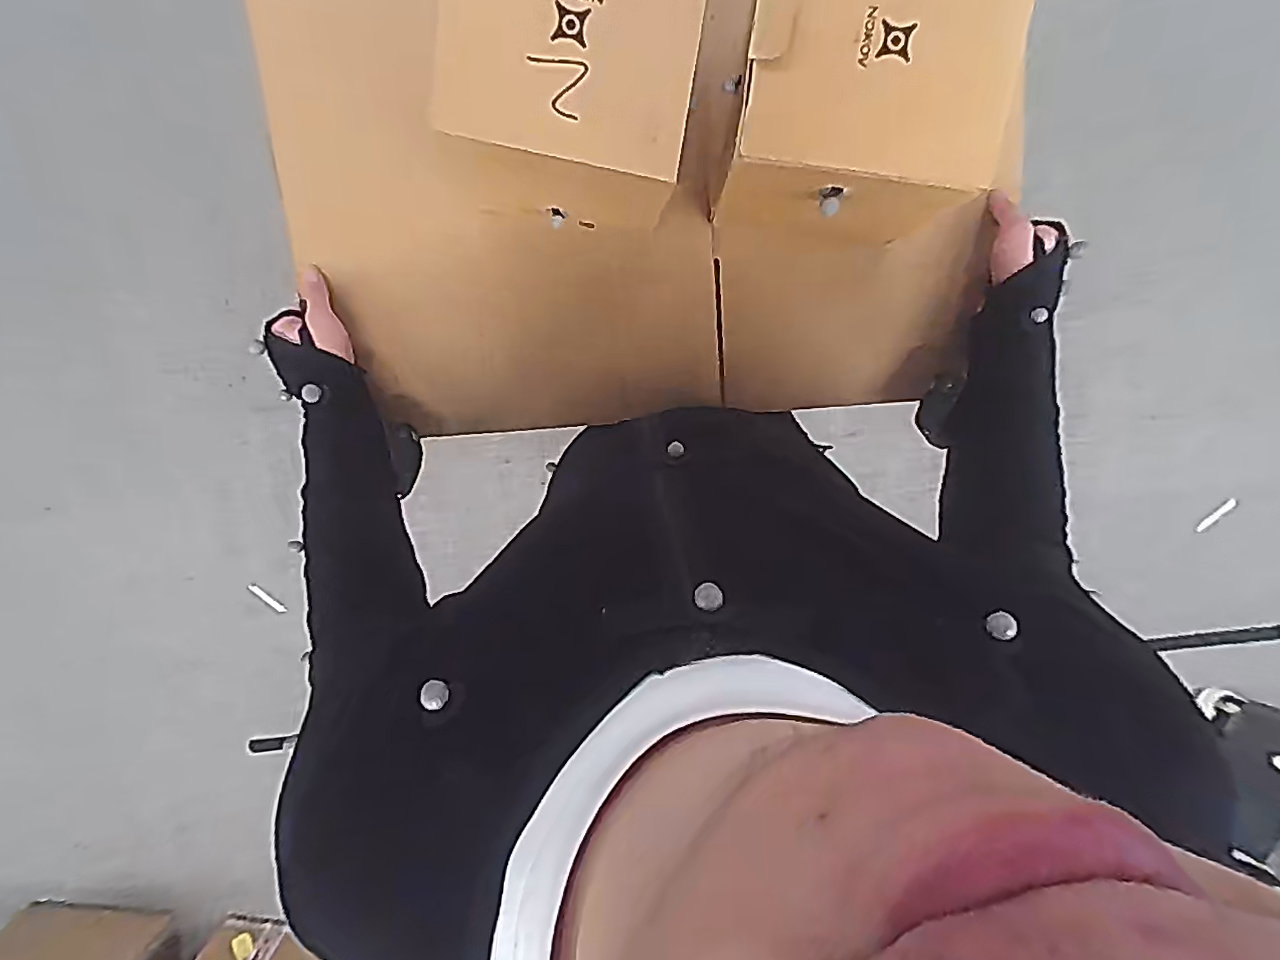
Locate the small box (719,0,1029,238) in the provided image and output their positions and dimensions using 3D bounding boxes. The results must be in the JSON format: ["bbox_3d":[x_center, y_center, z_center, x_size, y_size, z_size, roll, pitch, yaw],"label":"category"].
[{"bbox_3d":[0.170,-0.310,0.443,0.179,0.176,0.168,8,101,1],"label":"small box"}]
